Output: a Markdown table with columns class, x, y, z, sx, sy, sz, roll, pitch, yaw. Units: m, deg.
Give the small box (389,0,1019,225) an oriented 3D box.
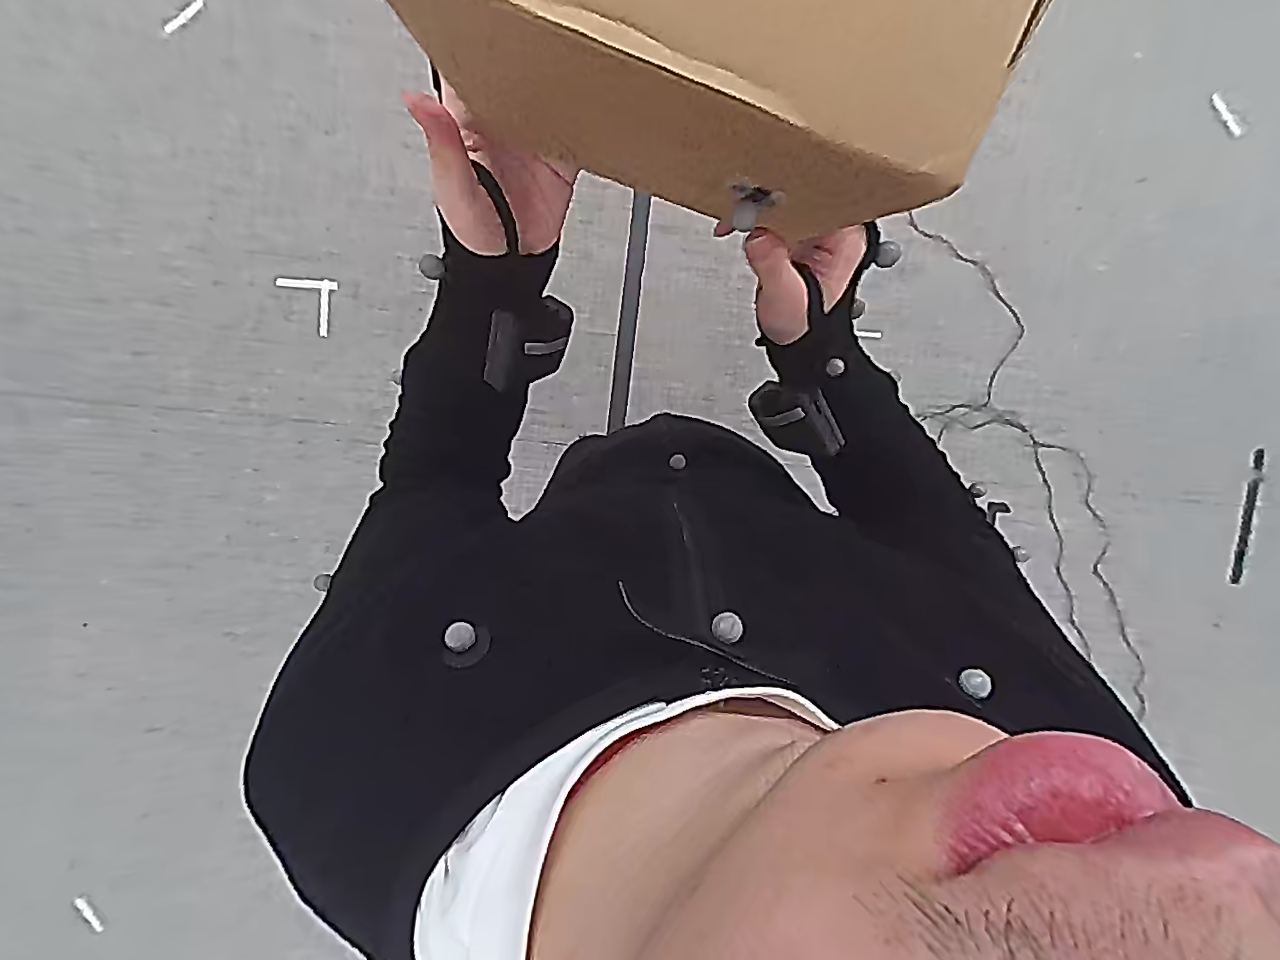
| class | x | y | z | sx | sy | sz | roll | pitch | yaw |
| --- | --- | --- | --- | --- | --- | --- | --- | --- | --- |
| small box | 0.027 | -0.211 | 0.207 | 0.179 | 0.176 | 0.168 | 13 | 106 | -7 |
